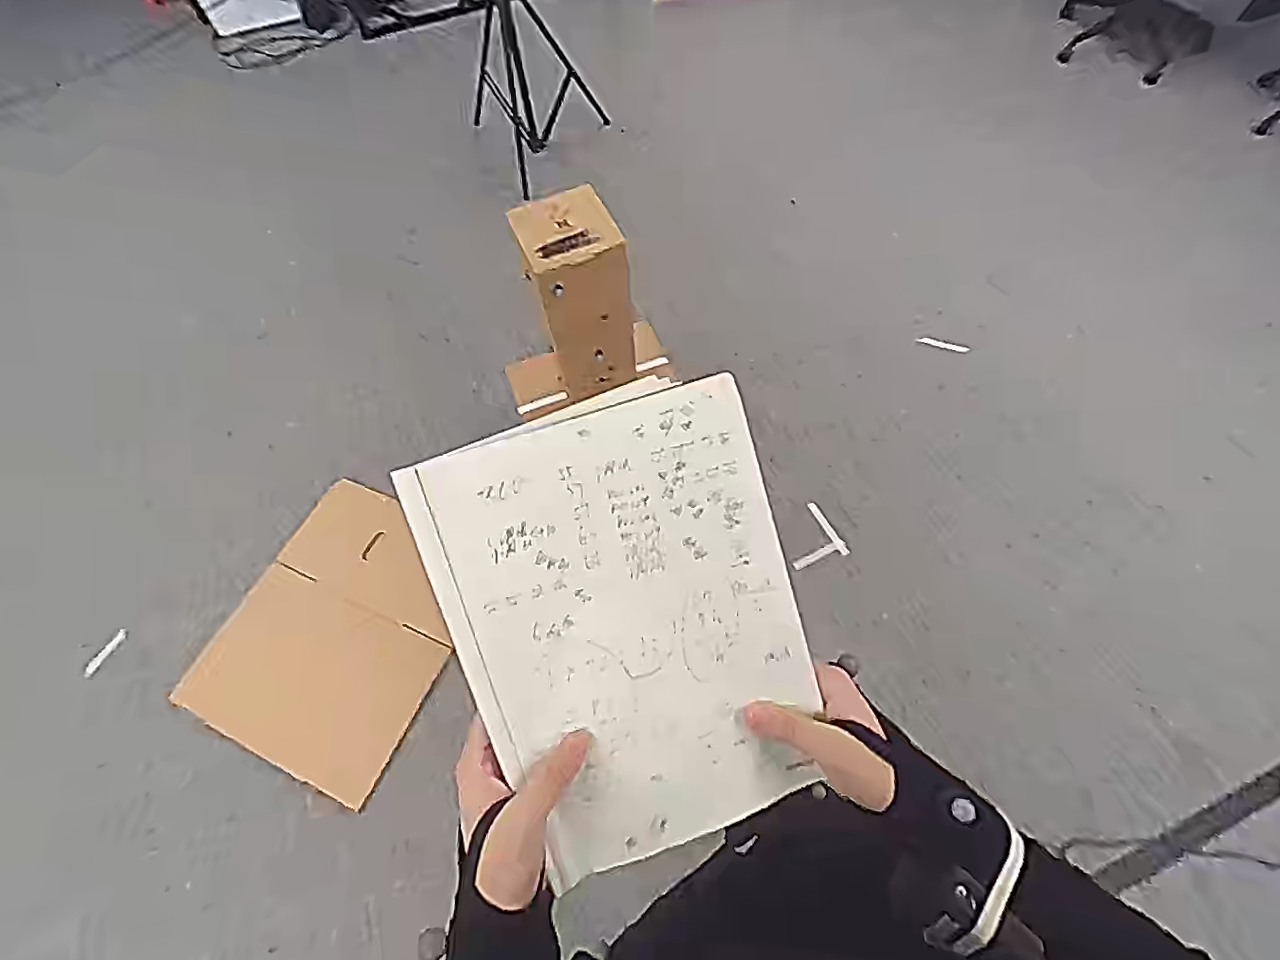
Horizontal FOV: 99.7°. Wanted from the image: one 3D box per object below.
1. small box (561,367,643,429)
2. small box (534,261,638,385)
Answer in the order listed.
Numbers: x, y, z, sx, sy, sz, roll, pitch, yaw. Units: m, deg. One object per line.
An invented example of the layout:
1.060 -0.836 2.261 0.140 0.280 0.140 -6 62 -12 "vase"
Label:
-0.096 -0.242 1.298 0.168 0.176 0.179 -18 63 -6 "small box"
-0.108 -0.324 1.156 0.168 0.176 0.179 -20 65 -7 "small box"
